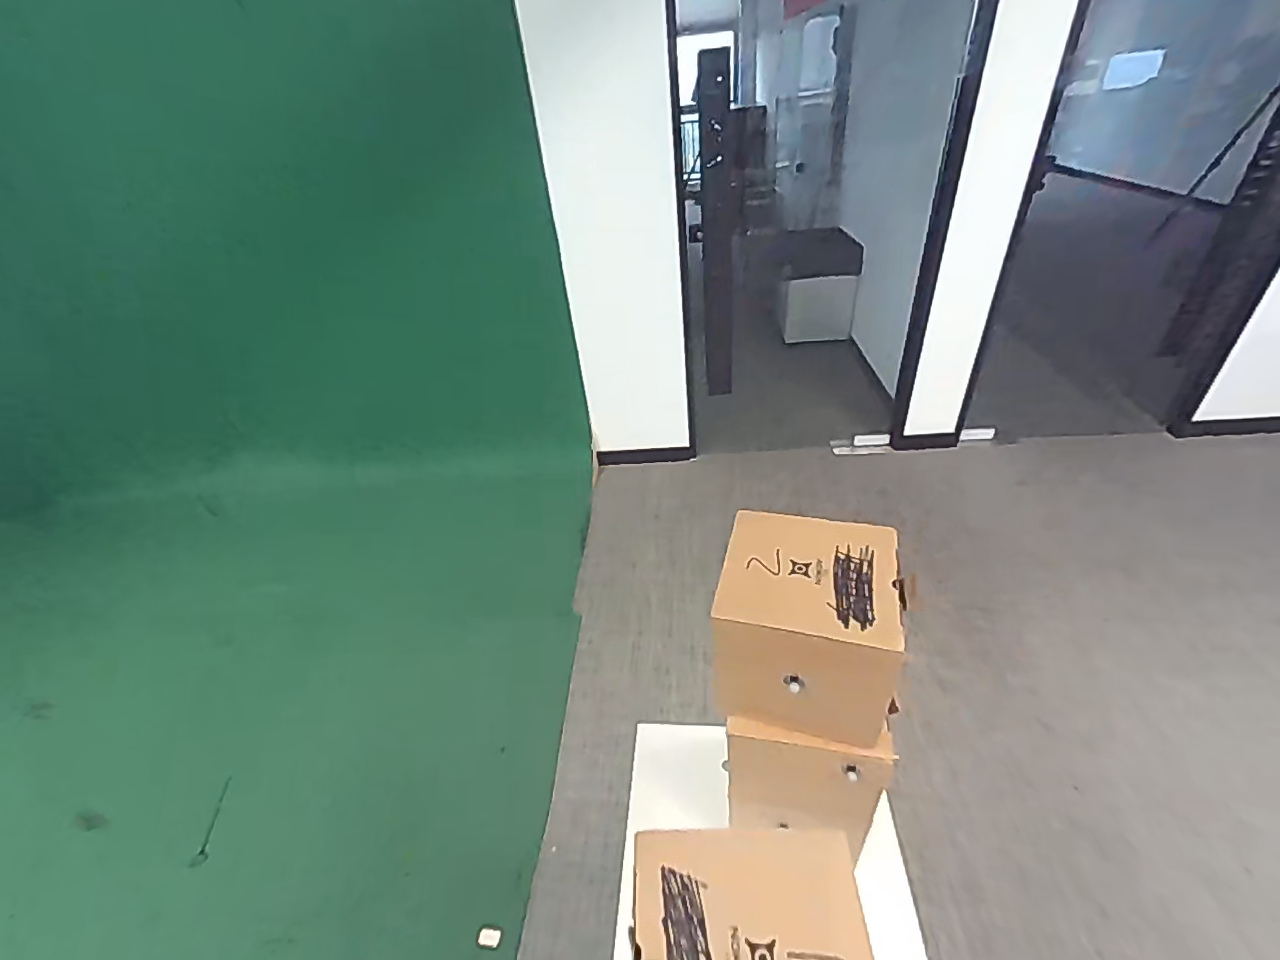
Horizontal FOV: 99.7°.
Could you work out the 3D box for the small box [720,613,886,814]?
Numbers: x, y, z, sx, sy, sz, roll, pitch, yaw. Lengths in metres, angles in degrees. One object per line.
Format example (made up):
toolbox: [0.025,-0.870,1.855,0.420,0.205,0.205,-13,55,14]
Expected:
small box: [0.198,0.296,0.690,0.179,0.176,0.168,3,38,13]

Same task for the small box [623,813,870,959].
small box: [0.083,0.395,0.439,0.179,0.176,0.168,-2,38,5]

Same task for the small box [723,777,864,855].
small box: [0.218,0.424,0.789,0.179,0.176,0.168,3,38,14]
